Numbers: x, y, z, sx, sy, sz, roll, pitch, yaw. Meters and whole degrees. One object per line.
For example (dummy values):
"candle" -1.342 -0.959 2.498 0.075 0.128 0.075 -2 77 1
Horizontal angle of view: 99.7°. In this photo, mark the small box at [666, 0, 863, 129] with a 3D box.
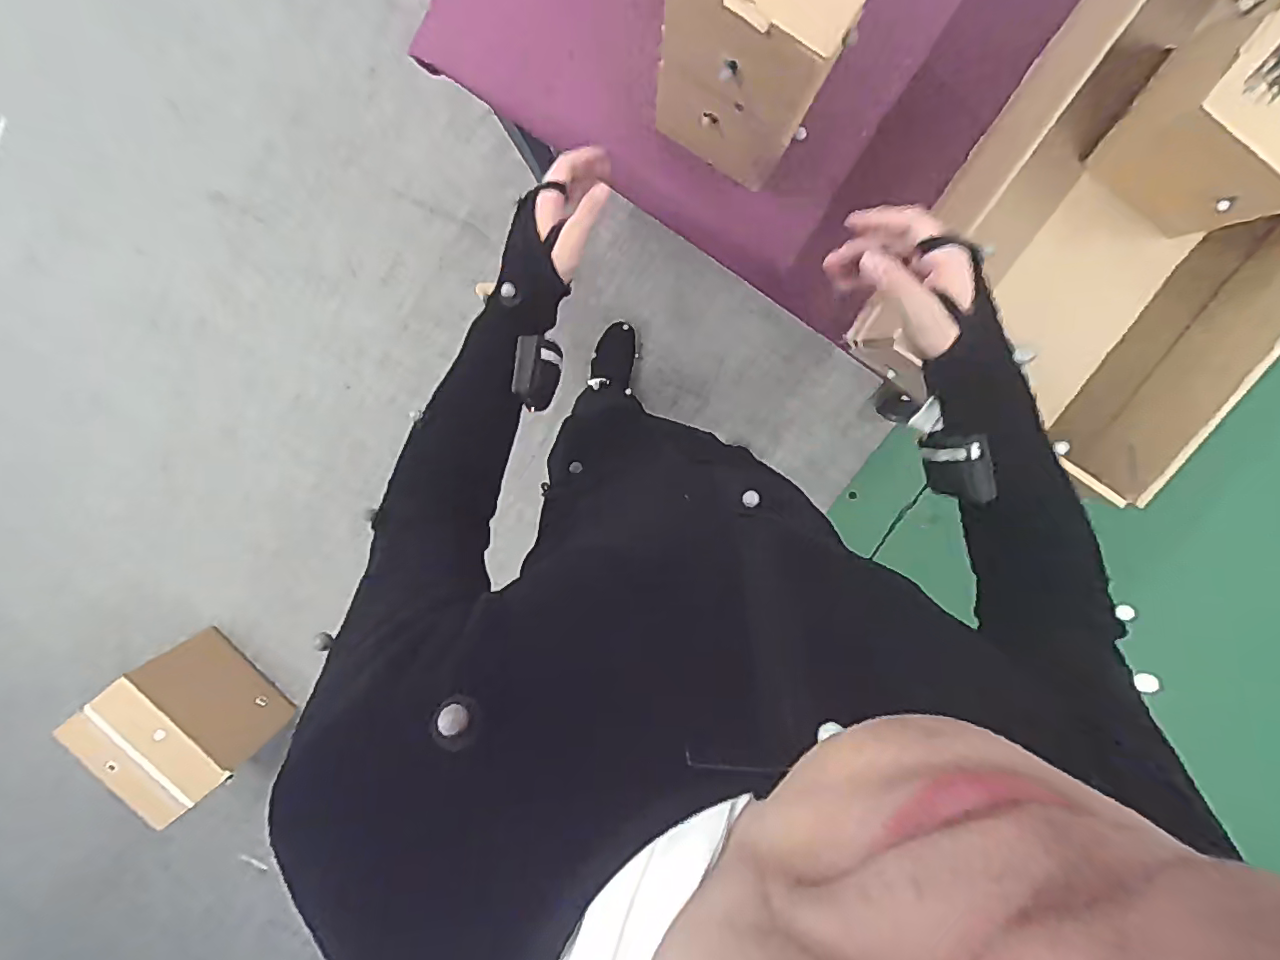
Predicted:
"small box" 0.136 -0.494 0.530 0.168 0.176 0.179 31 101 -6

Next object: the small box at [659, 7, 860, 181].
"small box" 0.135 -0.522 0.692 0.179 0.176 0.168 30 100 -5
